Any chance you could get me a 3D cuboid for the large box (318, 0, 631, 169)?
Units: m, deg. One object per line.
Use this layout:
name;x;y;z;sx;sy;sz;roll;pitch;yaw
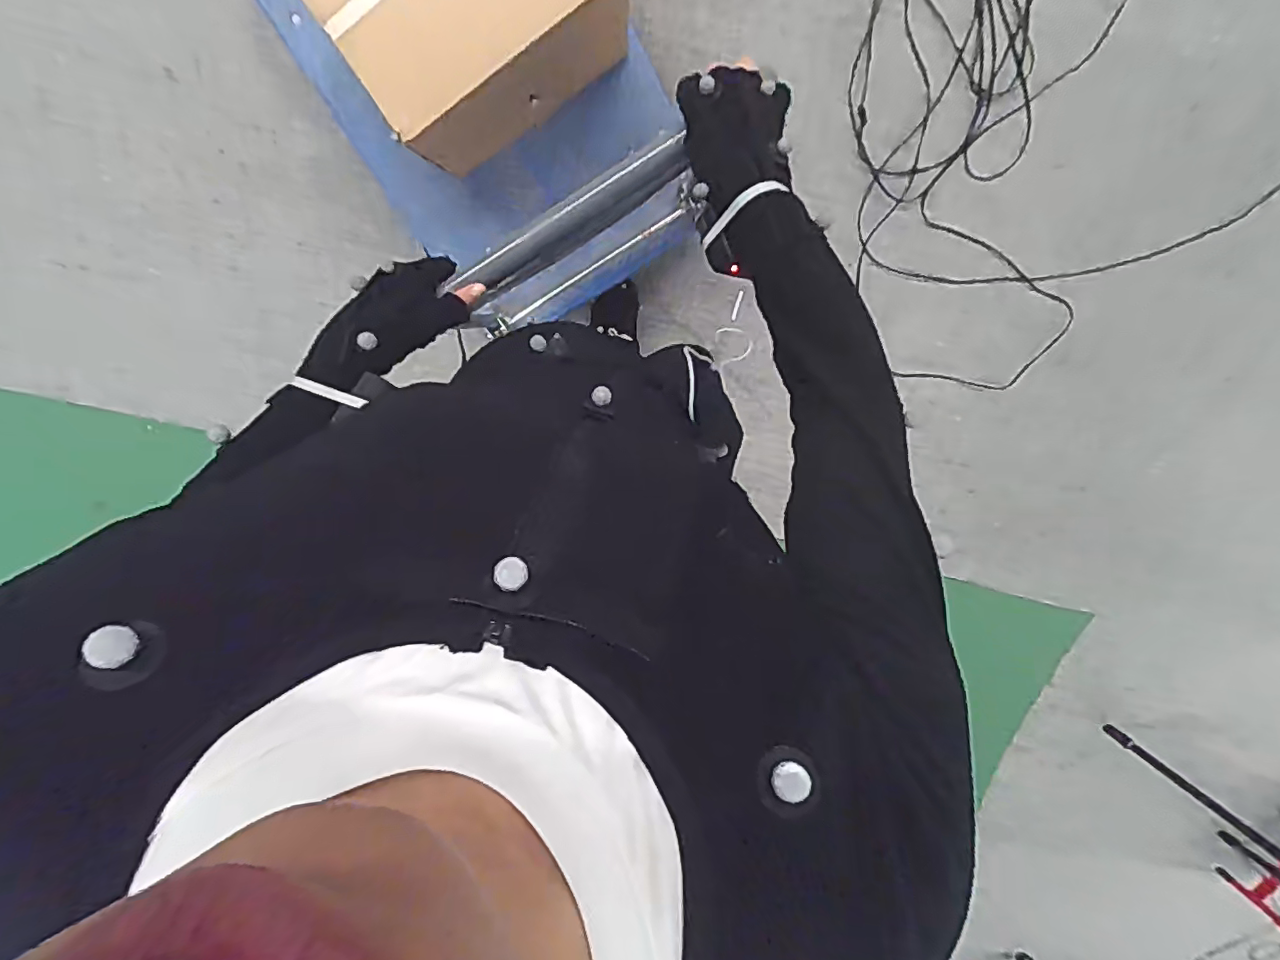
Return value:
large box;-0.261;-0.791;0.879;0.408;0.320;0.320;-30;108;10
